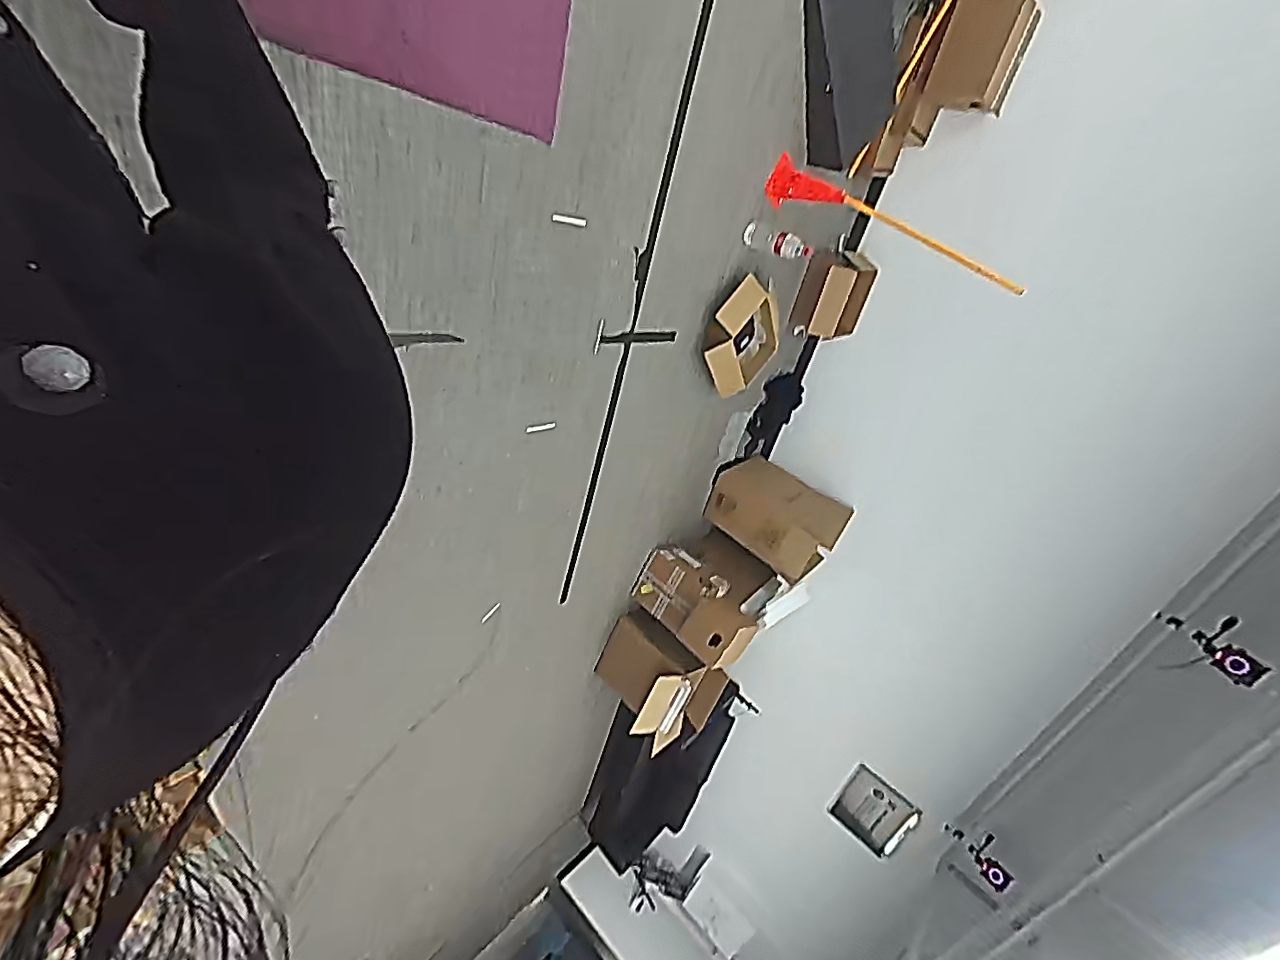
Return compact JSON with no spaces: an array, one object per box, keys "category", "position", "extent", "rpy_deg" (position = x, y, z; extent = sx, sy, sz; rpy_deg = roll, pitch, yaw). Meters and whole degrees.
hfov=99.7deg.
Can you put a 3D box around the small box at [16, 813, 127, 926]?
[{"category":"small box","position":[-1.609,1.096,1.533],"extent":[0.168,0.176,0.179],"rpy_deg":[-25,139,-44]}]
